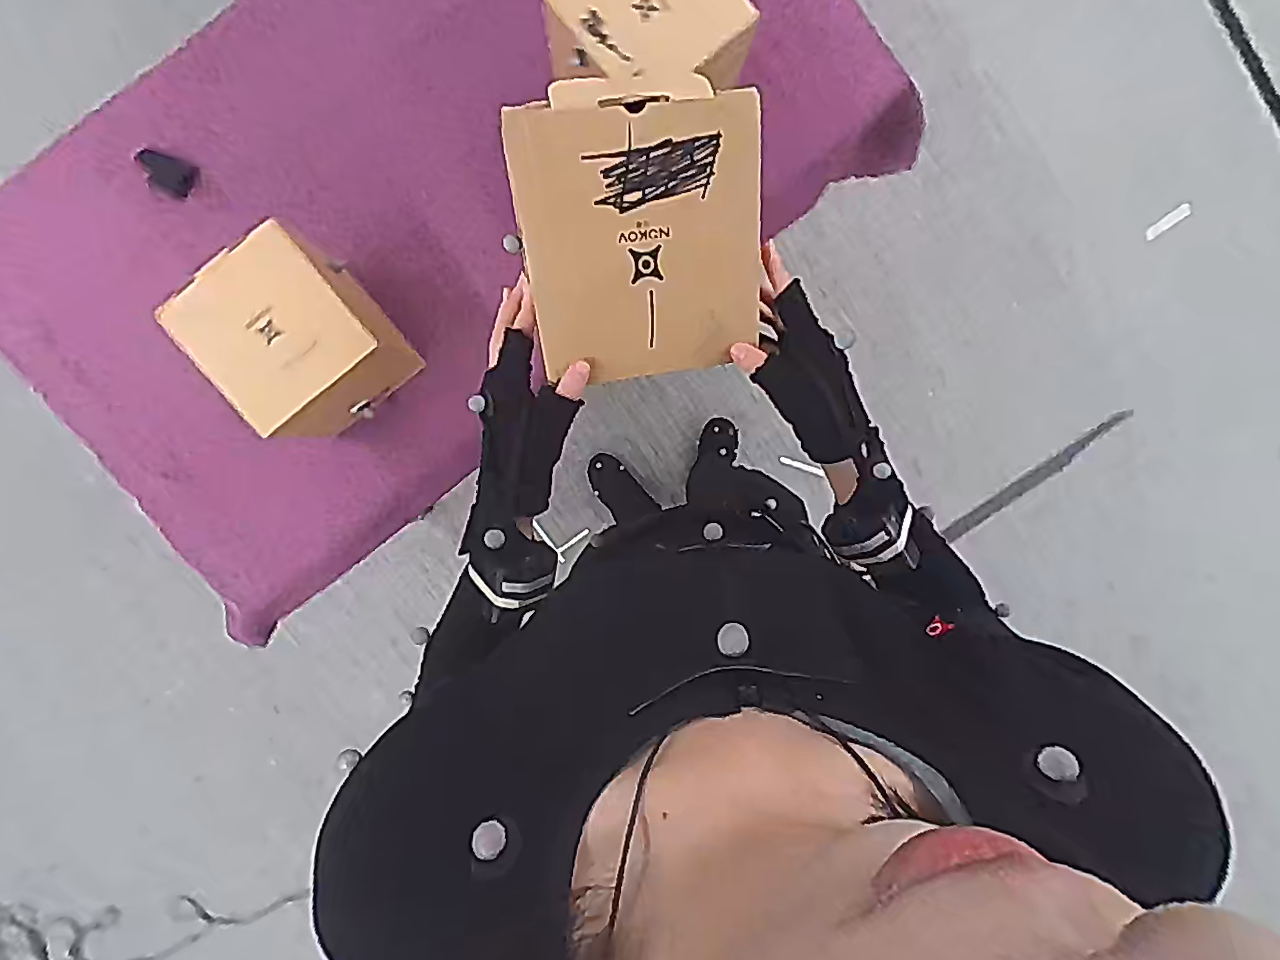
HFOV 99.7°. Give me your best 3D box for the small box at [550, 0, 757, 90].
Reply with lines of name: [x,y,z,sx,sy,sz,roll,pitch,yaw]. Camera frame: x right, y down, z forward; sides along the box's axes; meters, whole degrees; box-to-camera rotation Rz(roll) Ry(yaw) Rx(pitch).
small box: [0.008,-0.521,0.667,0.179,0.176,0.168,-41,95,0]

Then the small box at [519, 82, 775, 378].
small box: [-0.003,-0.195,0.439,0.168,0.176,0.179,-9,116,-8]

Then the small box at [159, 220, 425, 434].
small box: [-0.404,-0.169,0.664,0.168,0.176,0.179,-40,96,1]
